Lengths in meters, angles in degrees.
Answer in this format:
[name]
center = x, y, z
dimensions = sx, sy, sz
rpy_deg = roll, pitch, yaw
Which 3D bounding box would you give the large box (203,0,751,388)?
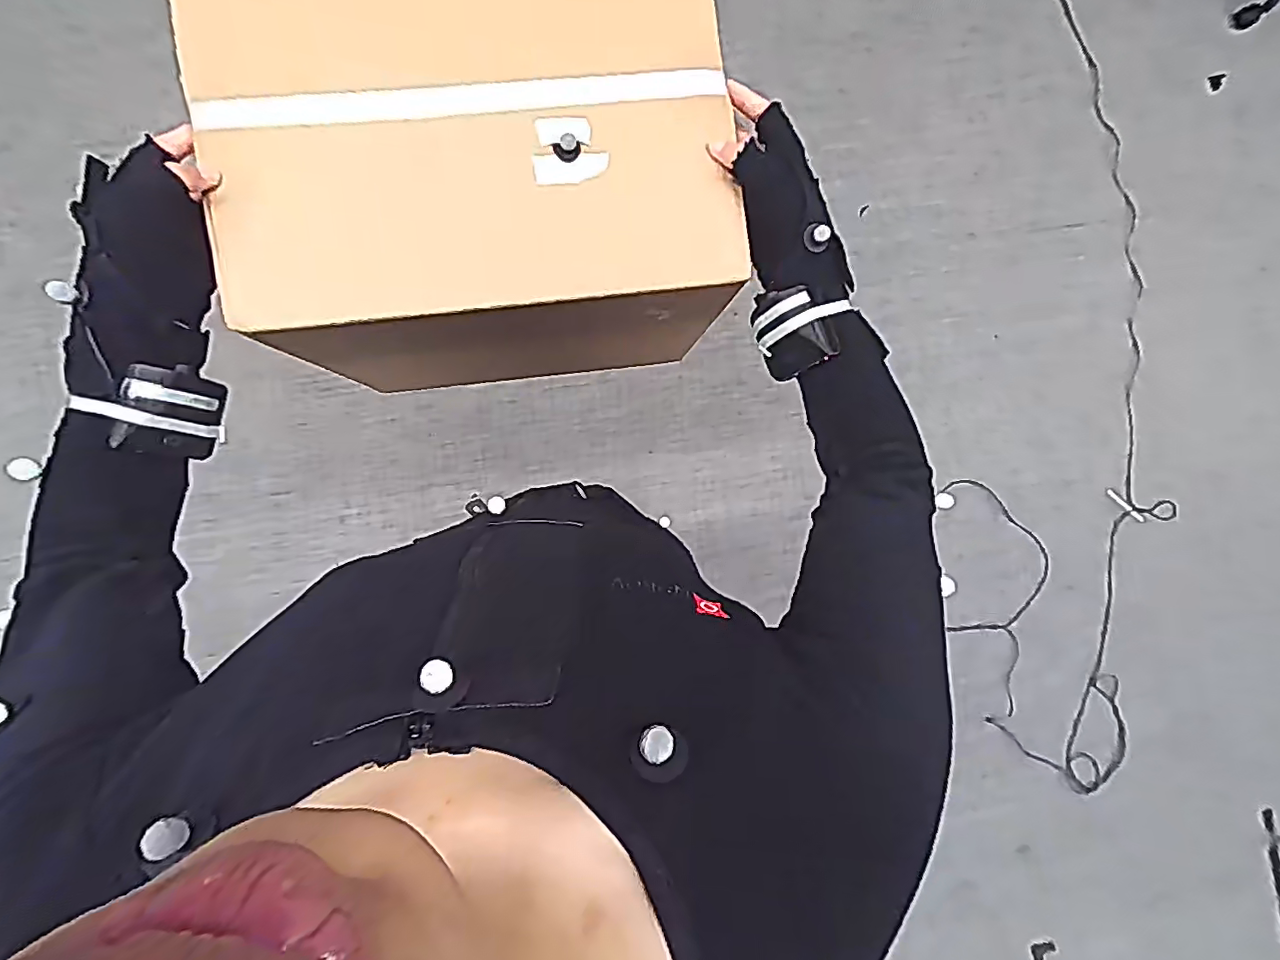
[large box]
center = -0.140, -0.300, 0.578
dimensions = 0.408, 0.320, 0.320
rpy_deg = -9, 92, -7
